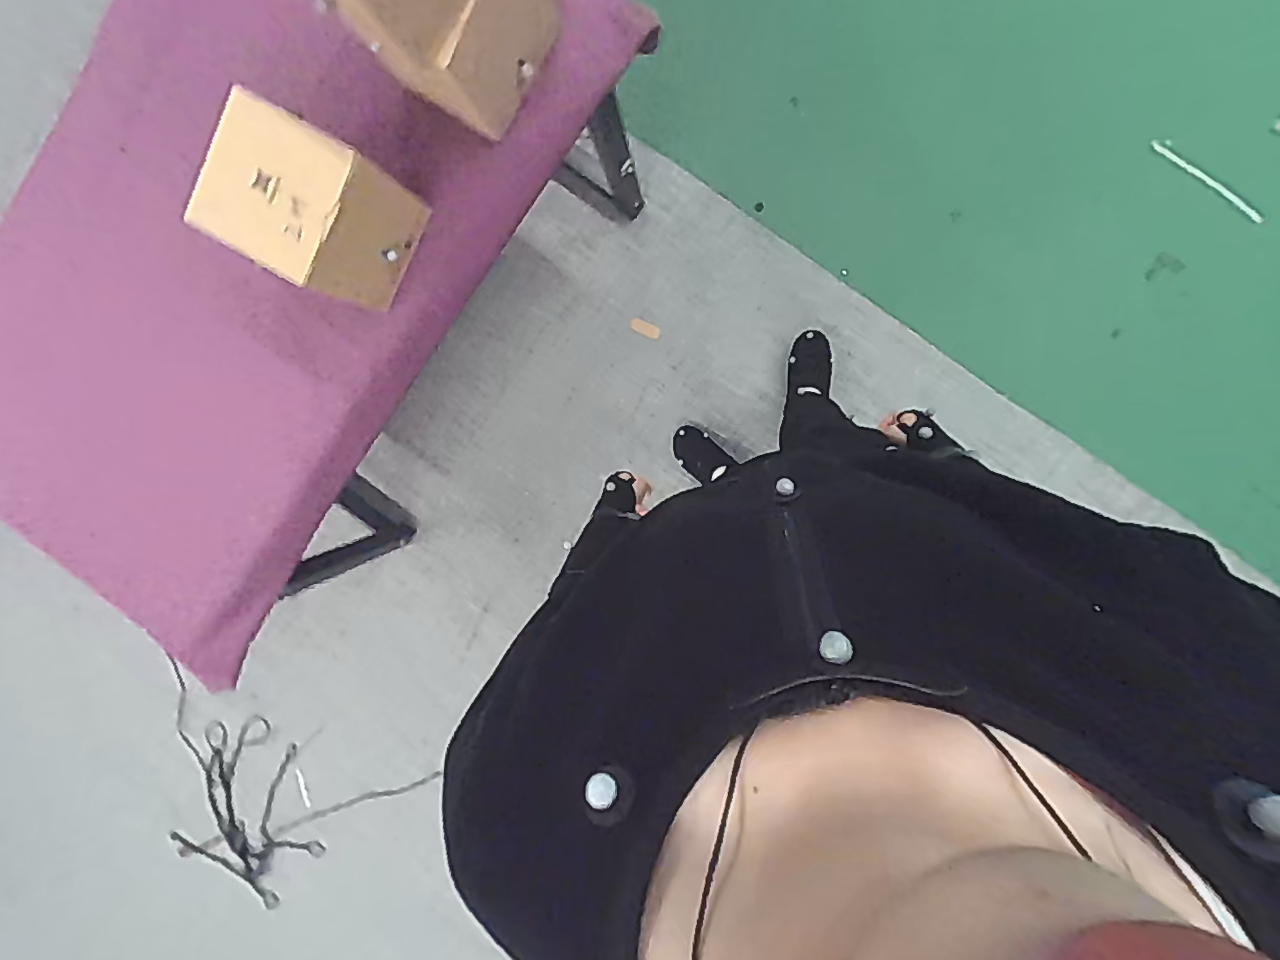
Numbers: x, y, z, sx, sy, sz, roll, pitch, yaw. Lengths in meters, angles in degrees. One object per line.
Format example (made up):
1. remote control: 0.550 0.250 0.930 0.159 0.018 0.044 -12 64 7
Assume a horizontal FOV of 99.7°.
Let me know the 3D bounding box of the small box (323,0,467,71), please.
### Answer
1. small box: -0.258 -0.547 0.499 0.168 0.176 0.179 38 100 1

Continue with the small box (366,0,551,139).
1. small box: -0.226 -0.571 0.658 0.168 0.176 0.179 32 99 2

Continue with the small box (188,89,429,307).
1. small box: -0.418 -0.348 0.707 0.179 0.176 0.168 30 100 3
